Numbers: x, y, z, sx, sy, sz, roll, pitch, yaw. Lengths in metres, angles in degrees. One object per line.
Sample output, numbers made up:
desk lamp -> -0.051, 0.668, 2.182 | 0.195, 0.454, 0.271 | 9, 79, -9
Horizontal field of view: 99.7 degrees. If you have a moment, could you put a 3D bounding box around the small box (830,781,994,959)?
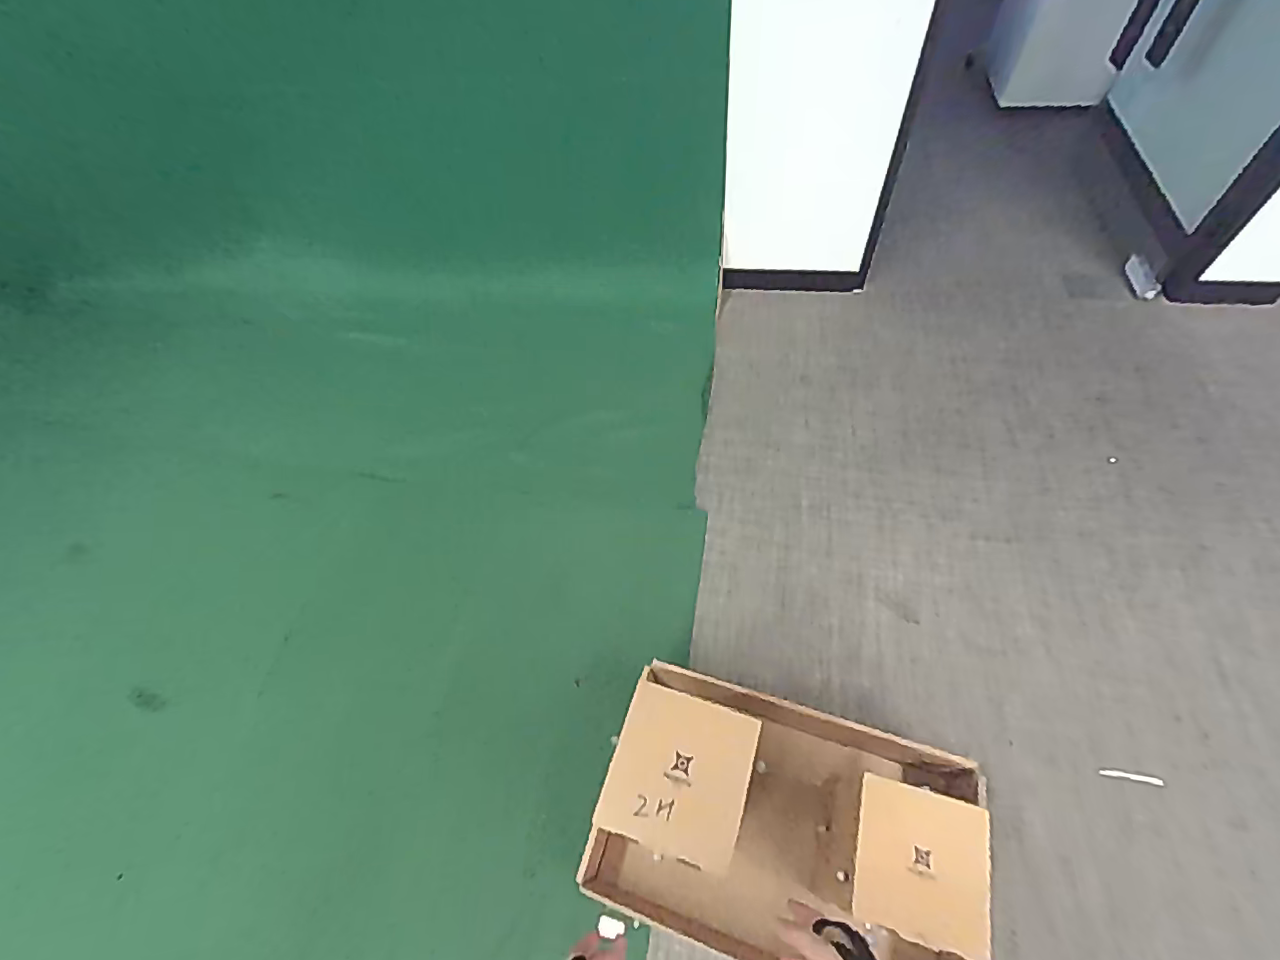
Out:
small box -> 0.380, 0.558, 0.774 | 0.168, 0.176, 0.179 | 12, 60, 14

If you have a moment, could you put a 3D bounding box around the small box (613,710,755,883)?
small box -> 0.071, 0.492, 0.852 | 0.168, 0.176, 0.179 | 17, 61, 15
